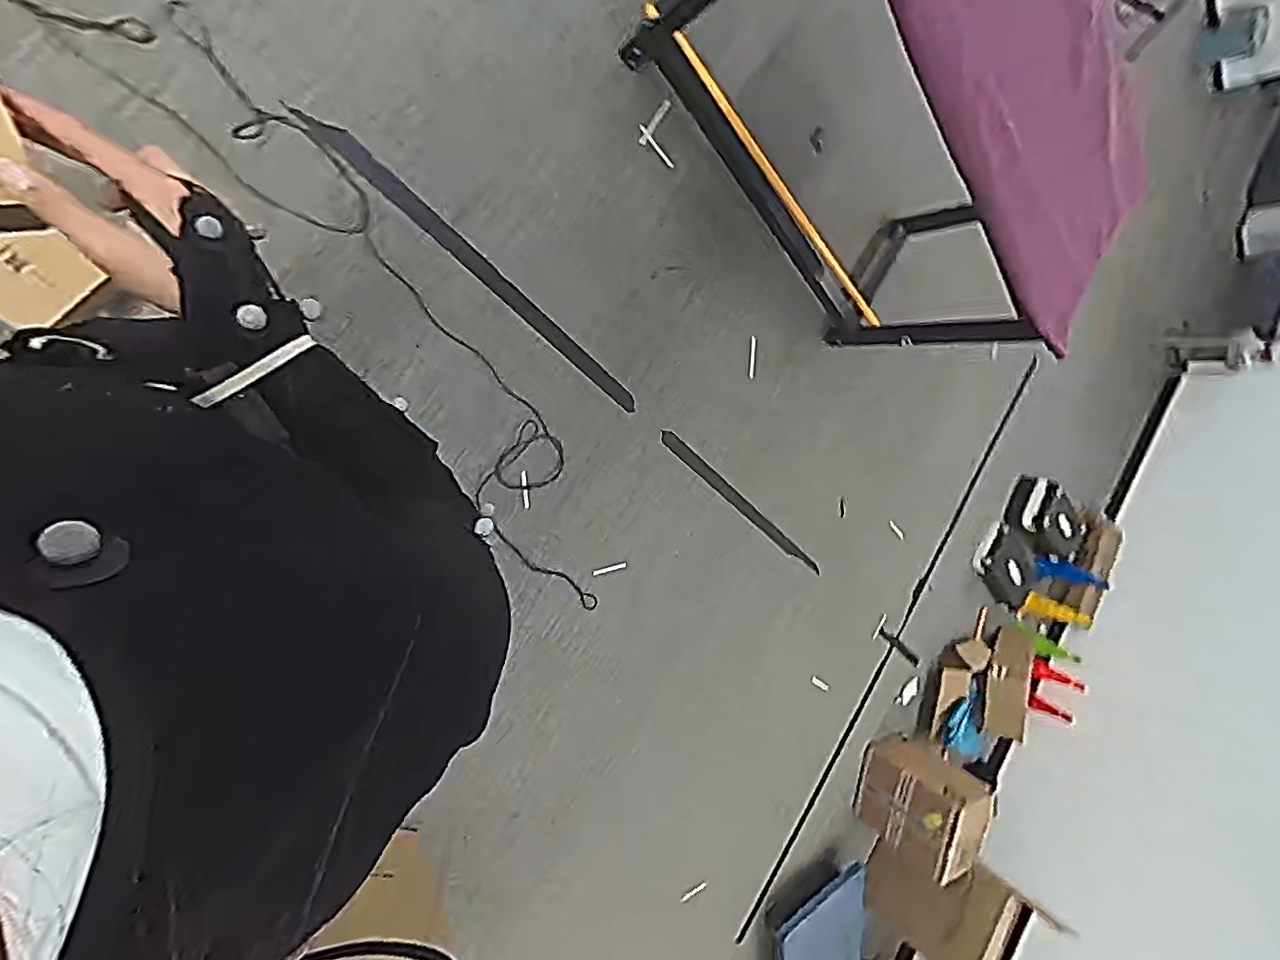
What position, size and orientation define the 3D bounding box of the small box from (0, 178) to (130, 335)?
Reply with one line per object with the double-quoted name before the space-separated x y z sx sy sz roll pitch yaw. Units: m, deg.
"small box" -0.971 -0.344 0.851 0.168 0.176 0.179 -52 125 -12
